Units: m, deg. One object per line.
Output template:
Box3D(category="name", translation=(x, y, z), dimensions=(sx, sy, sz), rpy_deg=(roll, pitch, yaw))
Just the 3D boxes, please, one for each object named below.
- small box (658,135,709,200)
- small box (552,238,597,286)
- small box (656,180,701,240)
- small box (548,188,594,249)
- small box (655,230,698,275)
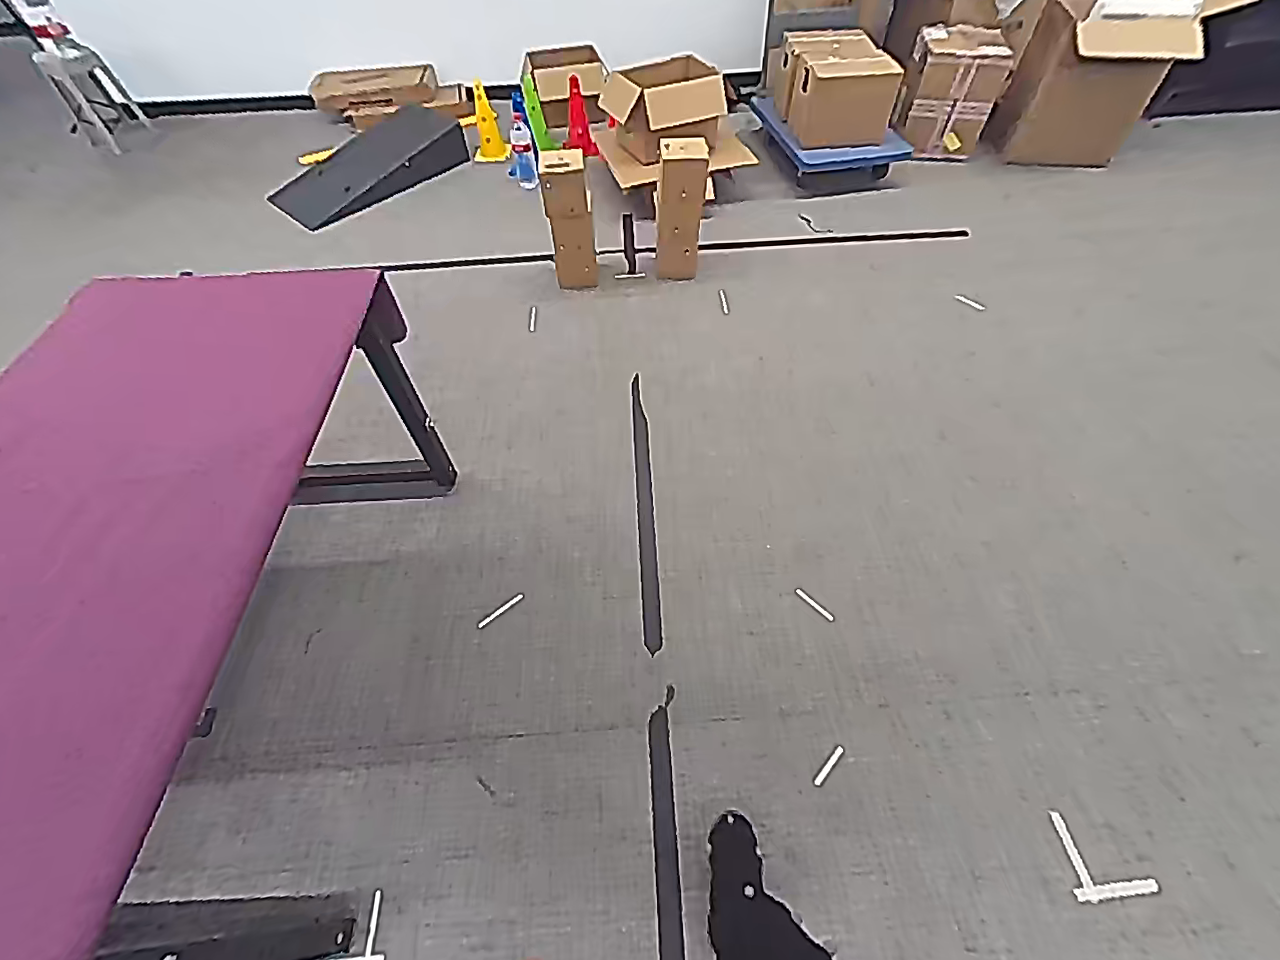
Box3D(category="small box", translation=(0.163, -1.200, 2.084), dimensions=(0.179, 0.176, 0.168), rpy_deg=(-1, 55, -2))
Box3D(category="small box", translation=(-0.277, -0.956, 2.321), dimensions=(0.179, 0.176, 0.168), rpy_deg=(-6, 54, -2))
Box3D(category="small box", translation=(0.153, -1.112, 2.222), dimensions=(0.168, 0.176, 0.179), rpy_deg=(-3, 55, -2))
Box3D(category="small box", translation=(-0.275, -1.052, 2.187), dimensions=(0.168, 0.176, 0.179), rpy_deg=(-3, 53, -1))
Box3D(category="small box", translation=(0.156, -1.007, 2.346), dimensions=(0.179, 0.176, 0.168), rpy_deg=(0, 54, 1))
